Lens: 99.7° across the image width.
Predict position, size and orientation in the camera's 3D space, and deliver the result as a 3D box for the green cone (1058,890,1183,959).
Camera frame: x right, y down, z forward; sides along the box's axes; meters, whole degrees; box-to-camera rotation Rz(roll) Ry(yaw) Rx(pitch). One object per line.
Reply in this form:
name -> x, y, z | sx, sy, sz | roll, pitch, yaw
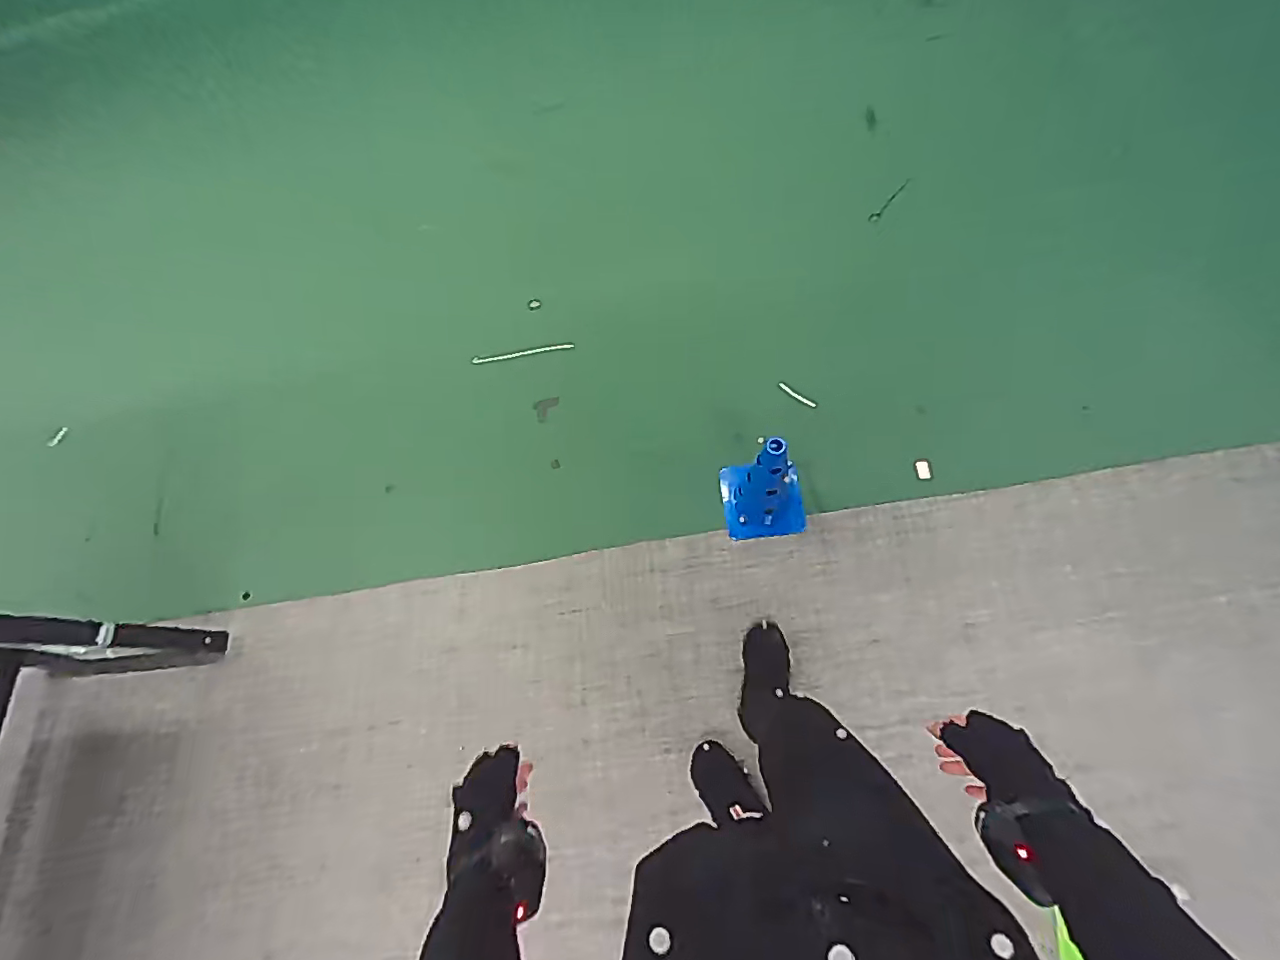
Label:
green cone -> 0.875, 0.833, 0.847 | 0.200, 0.368, 0.202 | 2, 70, 10
